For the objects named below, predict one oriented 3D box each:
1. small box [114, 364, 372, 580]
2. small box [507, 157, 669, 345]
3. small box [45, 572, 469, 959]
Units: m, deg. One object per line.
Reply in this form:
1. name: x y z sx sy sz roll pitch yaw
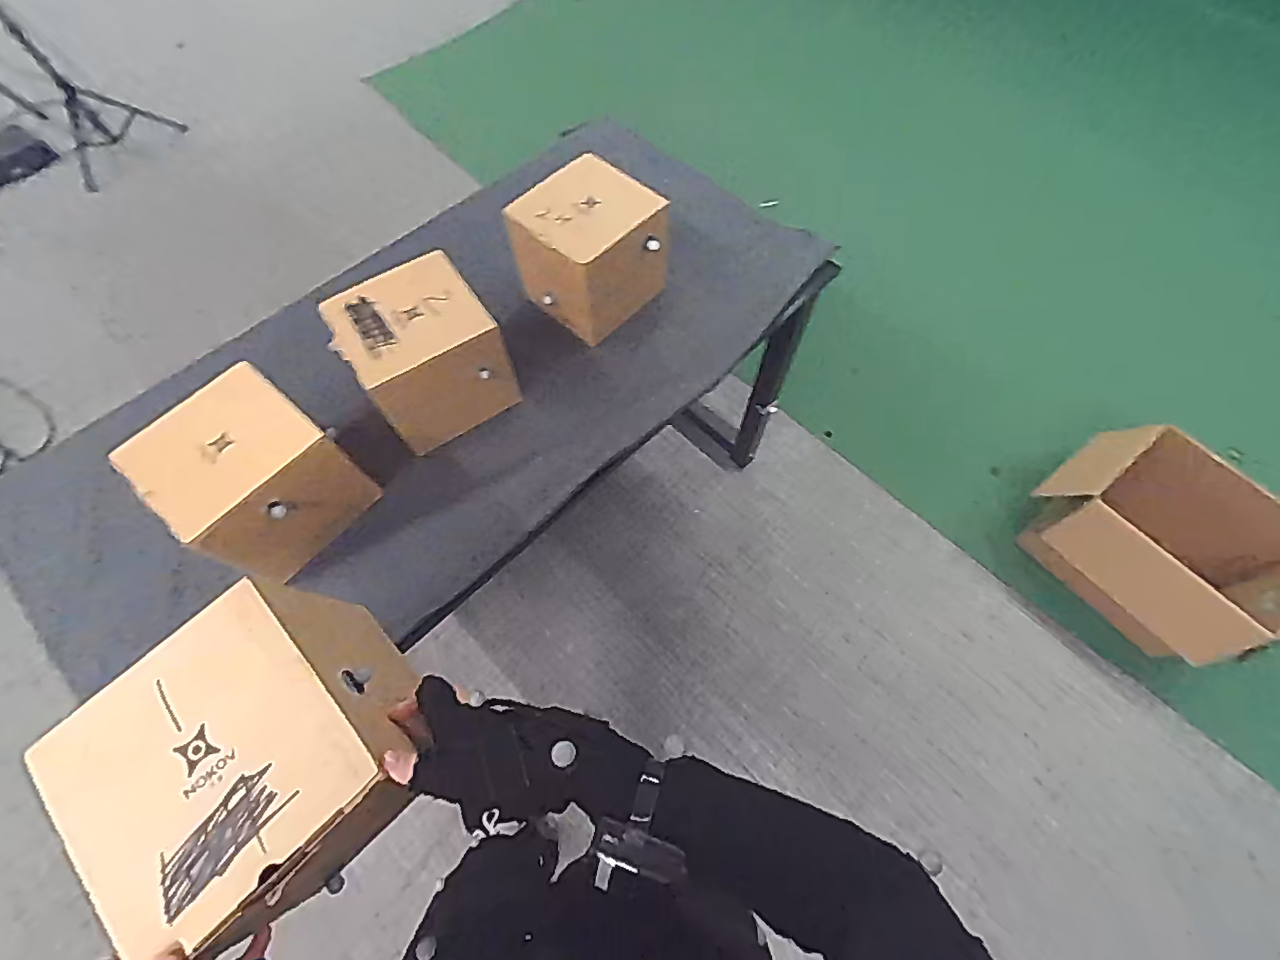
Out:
1. small box: -0.473 -0.003 0.683 0.168 0.176 0.179 37 71 16
2. small box: -0.076 -0.351 0.843 0.168 0.176 0.179 40 71 17
3. small box: -0.264 0.200 0.416 0.168 0.176 0.179 -41 73 -13
